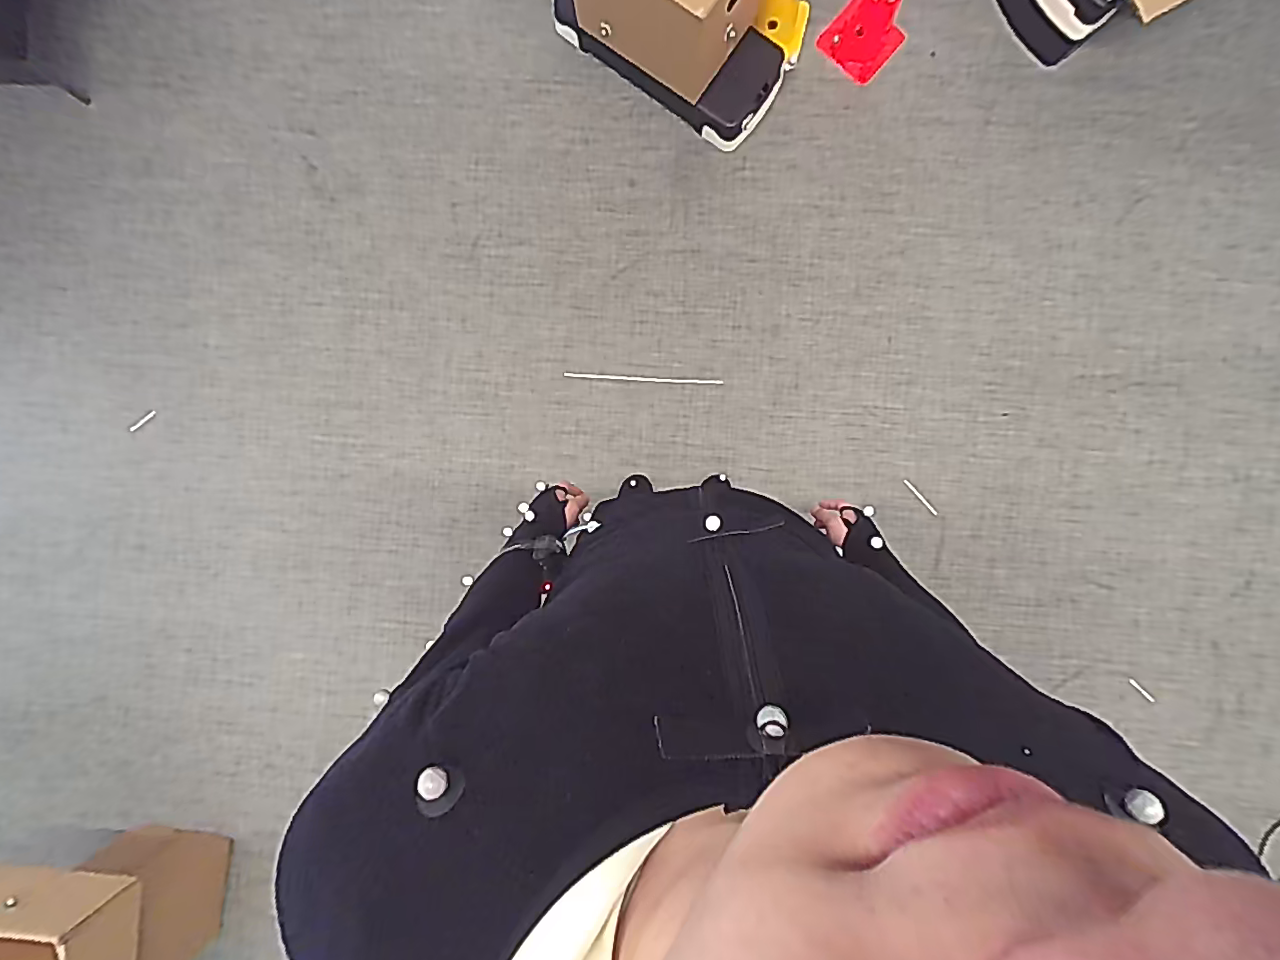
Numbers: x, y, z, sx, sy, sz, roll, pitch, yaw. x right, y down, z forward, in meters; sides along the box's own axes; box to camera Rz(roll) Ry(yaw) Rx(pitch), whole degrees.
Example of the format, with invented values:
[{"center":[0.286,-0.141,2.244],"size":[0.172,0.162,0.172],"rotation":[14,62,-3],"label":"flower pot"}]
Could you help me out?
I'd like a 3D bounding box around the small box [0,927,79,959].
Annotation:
[{"center":[-1.422,1.141,1.197],"size":[0.179,0.176,0.168],"rotation":[6,90,1],"label":"small box"}]
